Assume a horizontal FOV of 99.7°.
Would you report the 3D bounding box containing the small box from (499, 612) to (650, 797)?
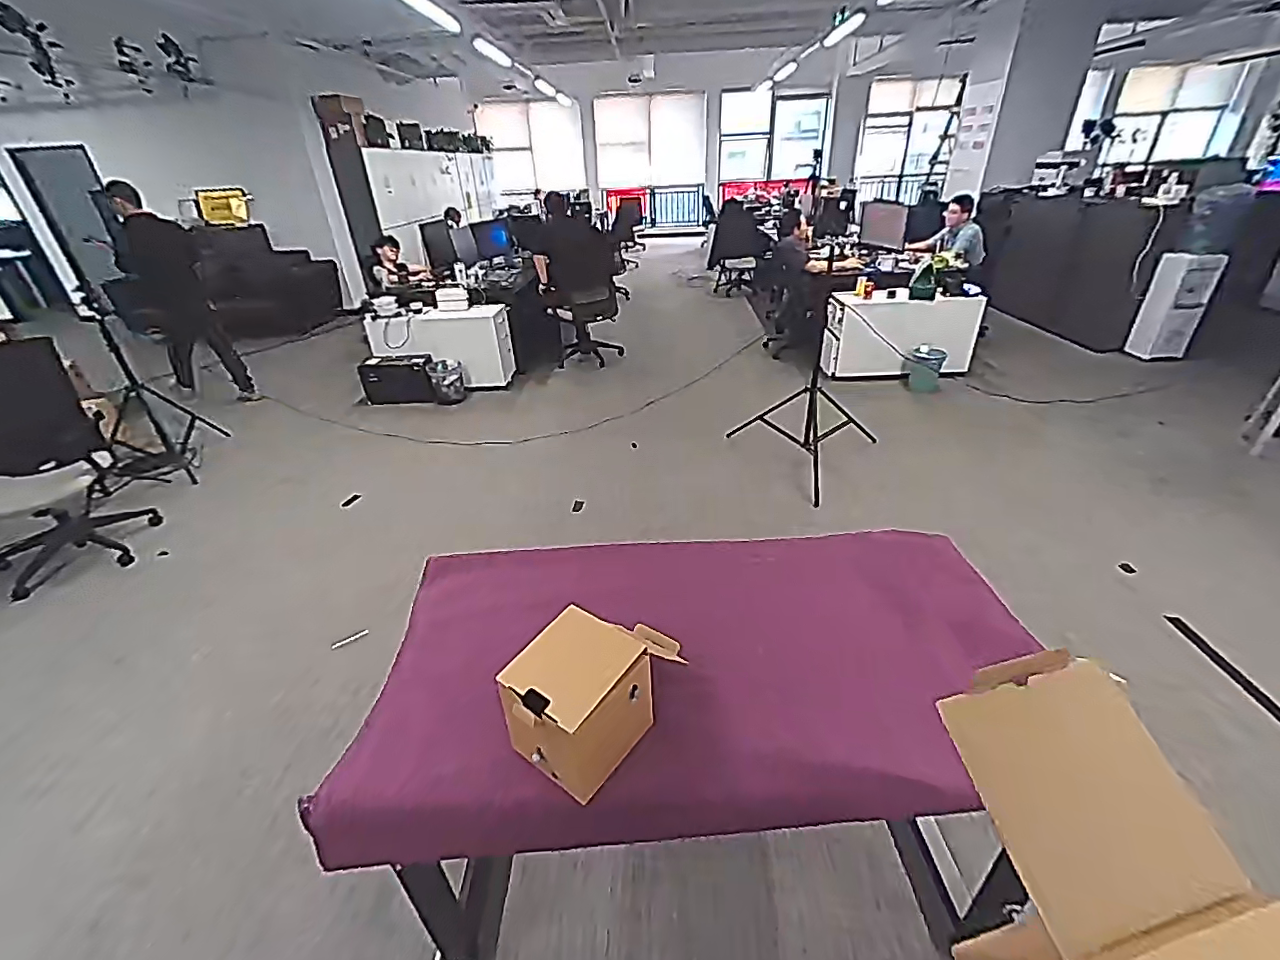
[{"bbox_3d":[-0.097,0.354,0.868,0.168,0.176,0.179,18,35,34],"label":"small box"}]
